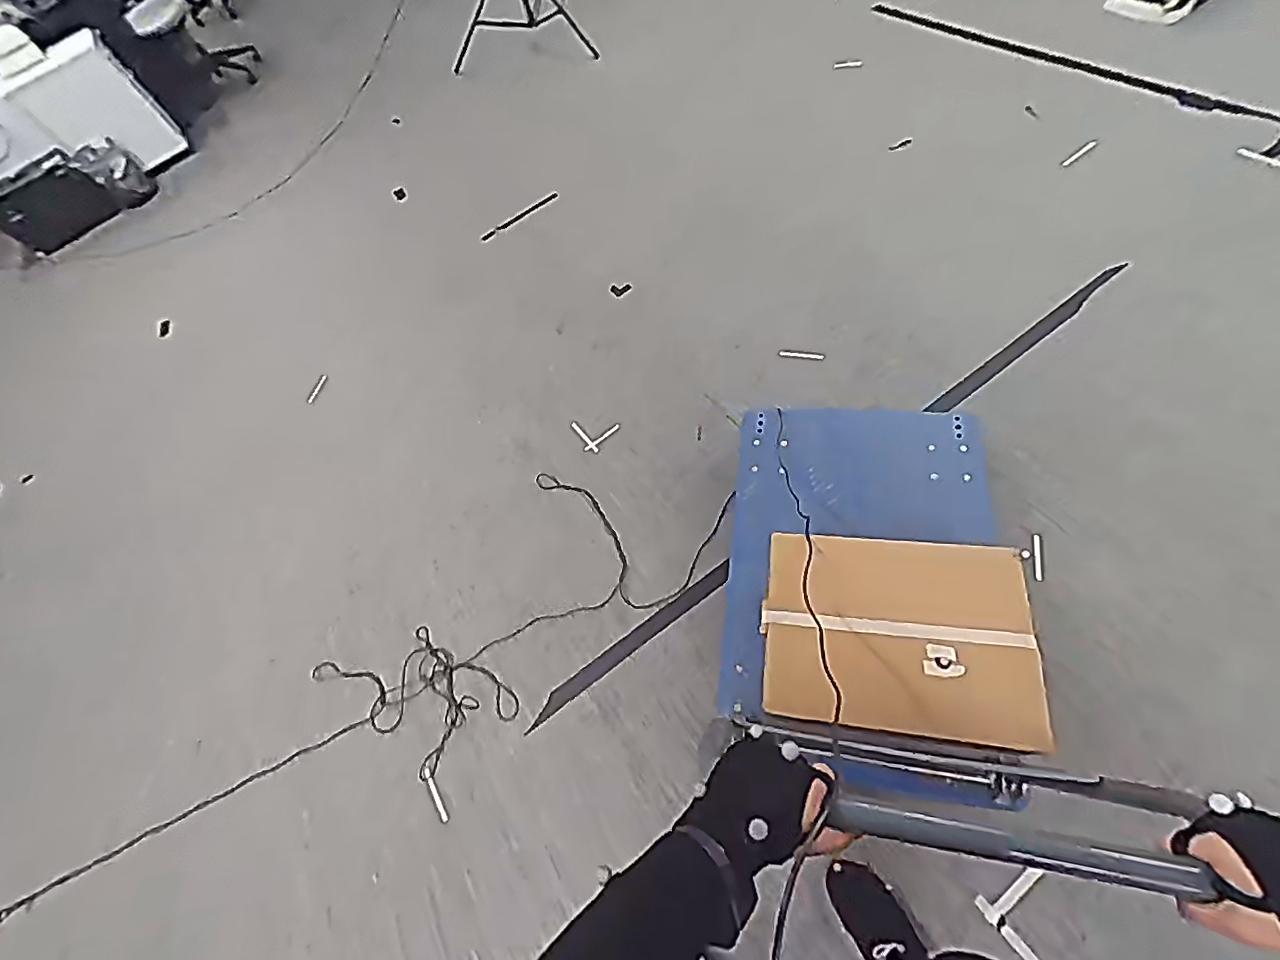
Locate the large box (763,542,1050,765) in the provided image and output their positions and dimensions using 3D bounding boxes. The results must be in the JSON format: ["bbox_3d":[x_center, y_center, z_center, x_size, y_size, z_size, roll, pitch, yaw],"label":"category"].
[{"bbox_3d":[0.437,0.325,1.004,0.408,0.320,0.320,3,64,14],"label":"large box"}]
